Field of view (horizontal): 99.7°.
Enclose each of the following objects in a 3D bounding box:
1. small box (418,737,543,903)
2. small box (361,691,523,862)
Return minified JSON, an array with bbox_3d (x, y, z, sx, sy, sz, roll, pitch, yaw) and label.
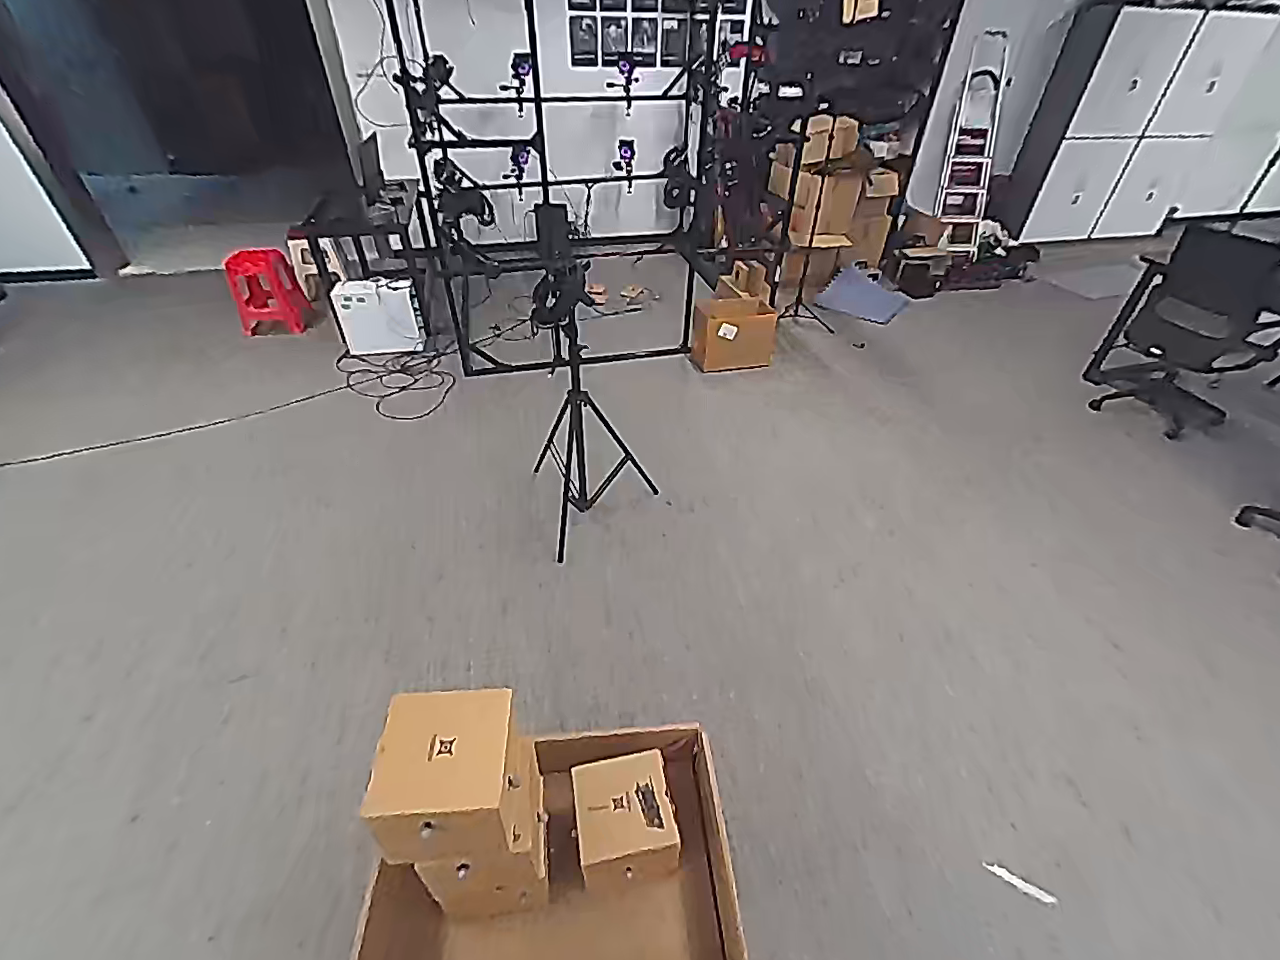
[{"bbox_3d":[-0.249,0.554,0.887,0.168,0.176,0.179,-3,39,-7],"label":"small box"},{"bbox_3d":[-0.268,0.428,0.783,0.179,0.176,0.168,-1,39,-5],"label":"small box"}]
